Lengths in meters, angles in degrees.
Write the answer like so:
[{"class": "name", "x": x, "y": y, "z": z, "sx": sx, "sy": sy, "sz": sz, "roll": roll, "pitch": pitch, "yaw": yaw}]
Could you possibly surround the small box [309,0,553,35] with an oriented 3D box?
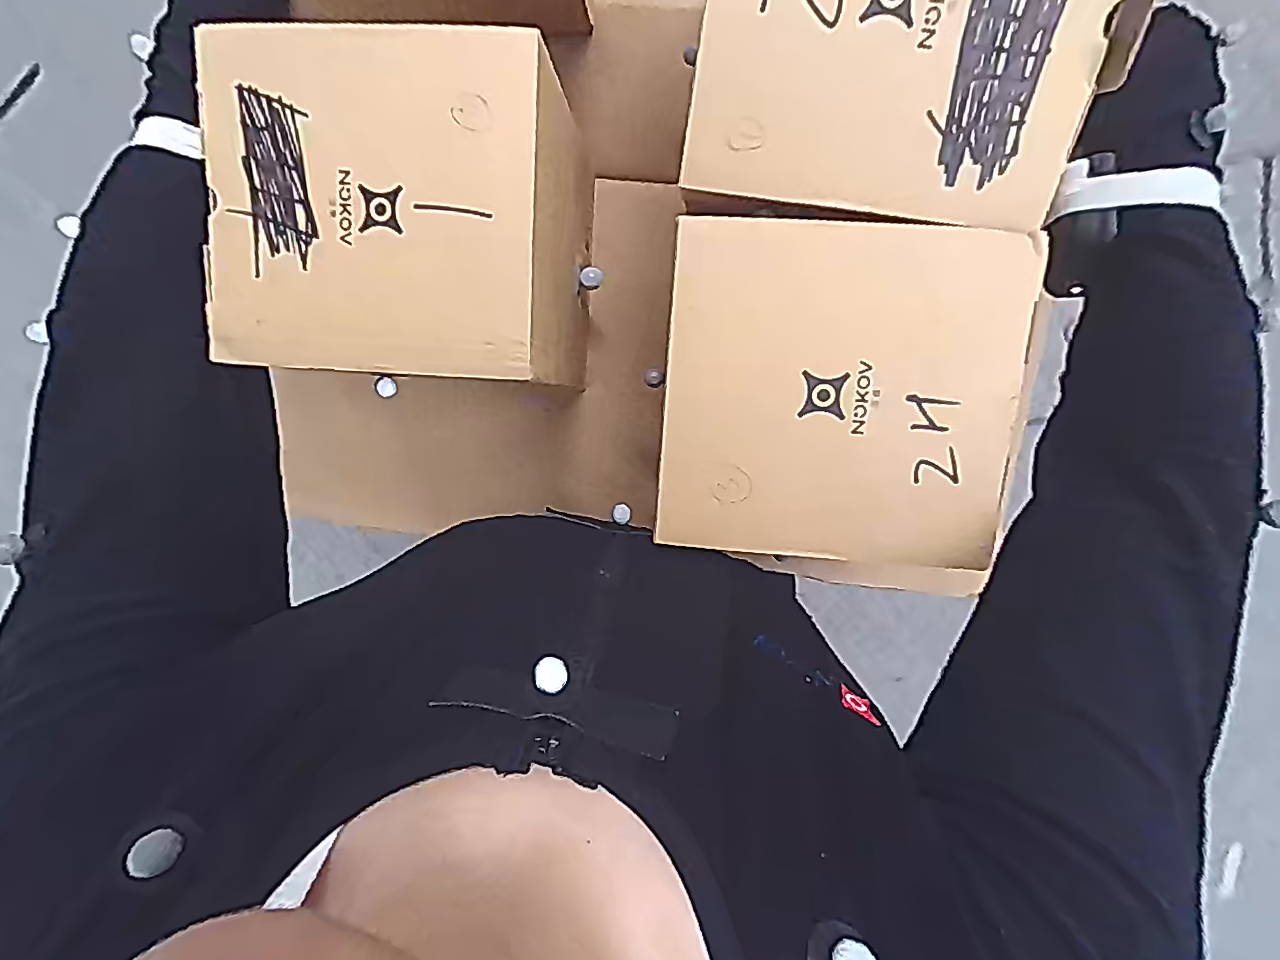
[{"class": "small box", "x": -0.136, "y": -0.379, "z": 0.286, "sx": 0.179, "sy": 0.176, "sz": 0.168, "roll": 0, "pitch": 101, "yaw": 5}]
